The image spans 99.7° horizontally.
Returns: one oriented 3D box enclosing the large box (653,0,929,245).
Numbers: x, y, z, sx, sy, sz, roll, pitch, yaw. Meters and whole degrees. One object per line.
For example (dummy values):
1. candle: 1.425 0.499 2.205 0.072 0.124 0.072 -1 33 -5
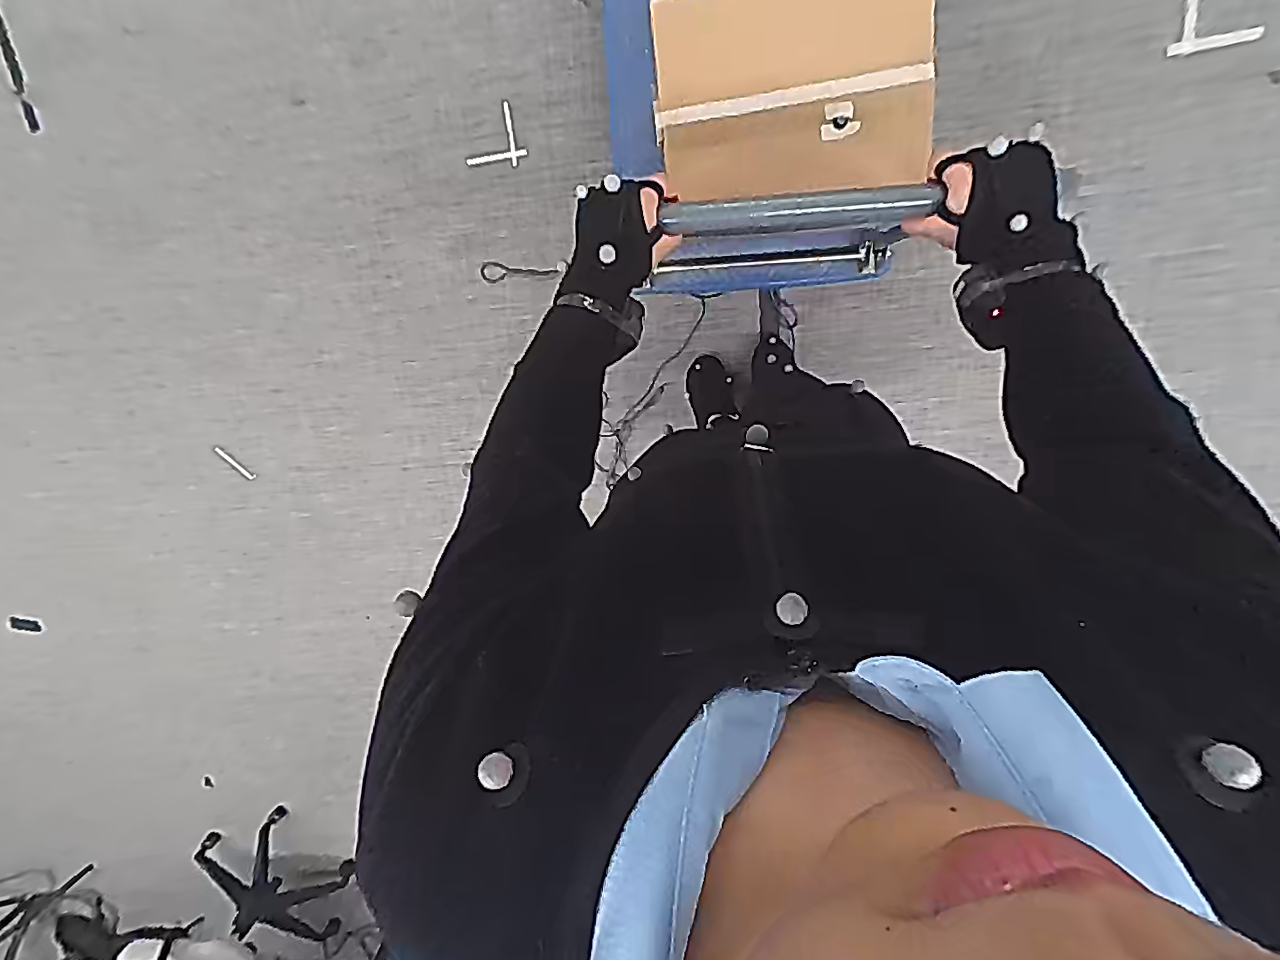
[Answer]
1. large box: 0.245 -0.634 0.974 0.408 0.320 0.320 -6 108 6
